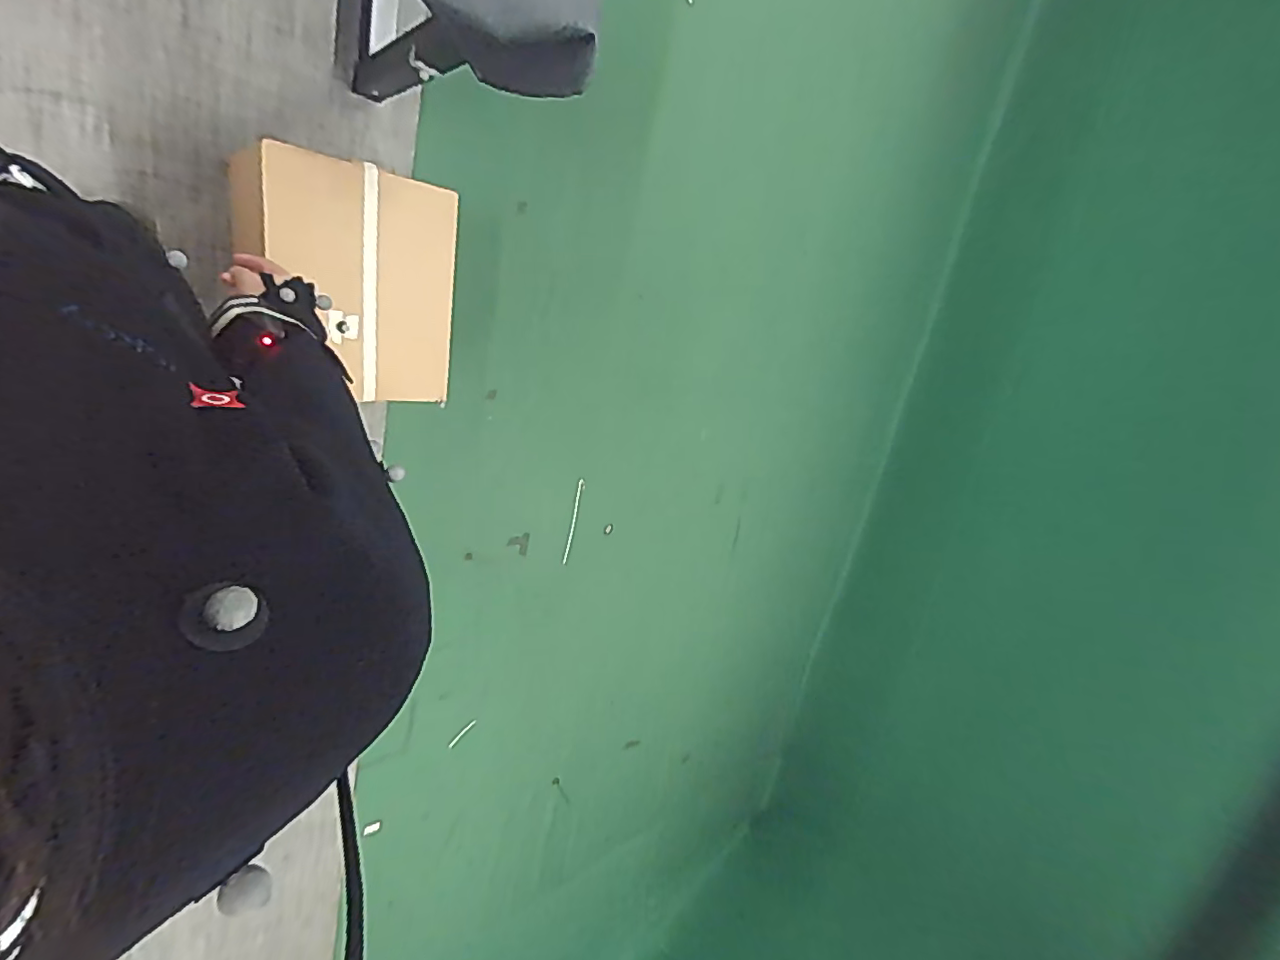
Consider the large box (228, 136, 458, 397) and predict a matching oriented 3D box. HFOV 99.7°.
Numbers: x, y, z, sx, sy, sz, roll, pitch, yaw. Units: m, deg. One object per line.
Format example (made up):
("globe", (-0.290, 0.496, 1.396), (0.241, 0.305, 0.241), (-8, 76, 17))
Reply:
("large box", (-0.583, -0.397, 1.064), (0.320, 0.320, 0.408), (-7, 115, -43))
